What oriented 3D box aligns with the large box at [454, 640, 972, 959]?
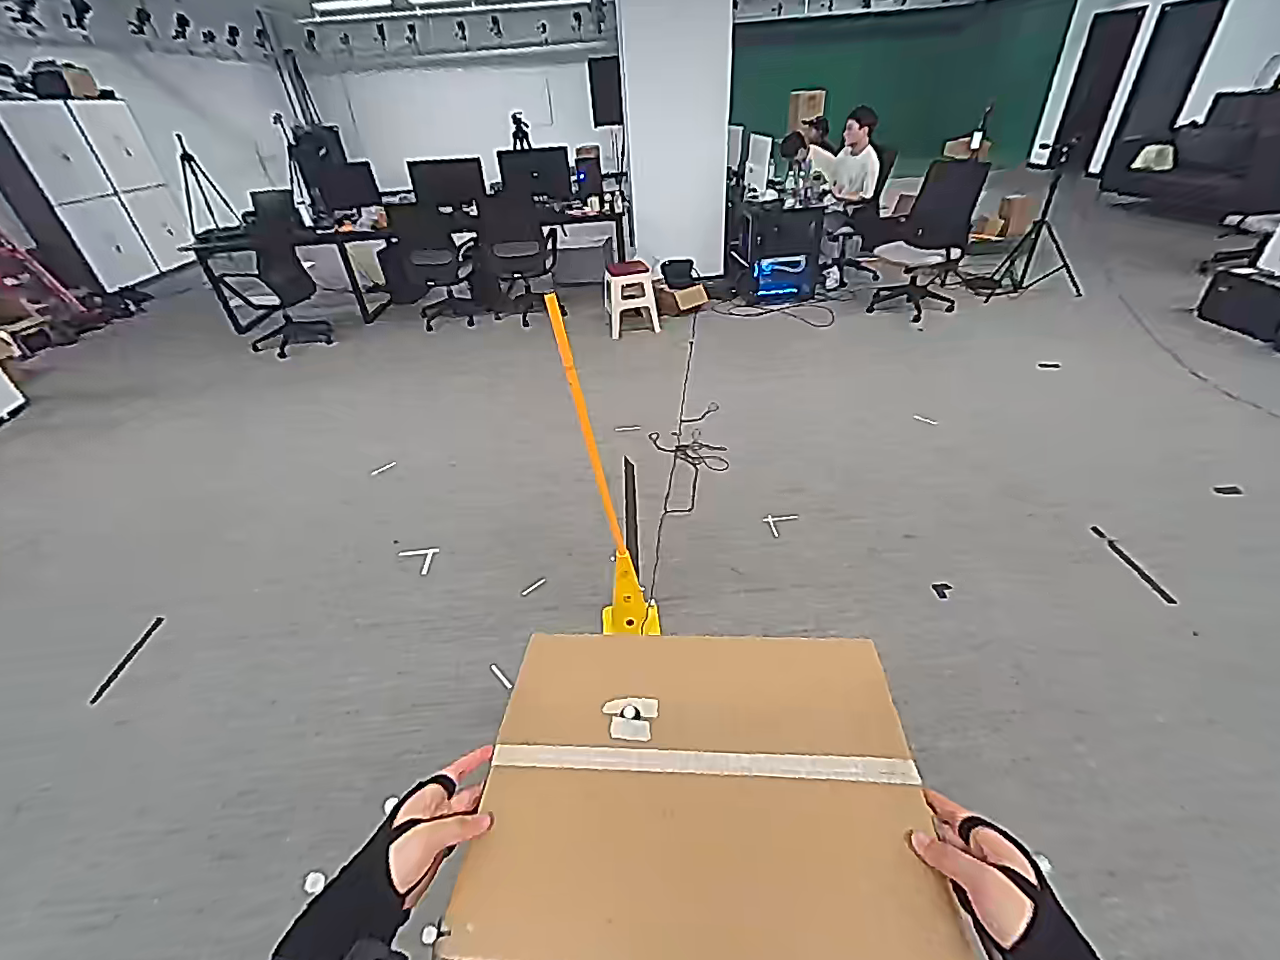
[{"bbox_3d":[0.074,0.407,0.613,0.408,0.320,0.320,-3,33,7],"label":"large box"}]
